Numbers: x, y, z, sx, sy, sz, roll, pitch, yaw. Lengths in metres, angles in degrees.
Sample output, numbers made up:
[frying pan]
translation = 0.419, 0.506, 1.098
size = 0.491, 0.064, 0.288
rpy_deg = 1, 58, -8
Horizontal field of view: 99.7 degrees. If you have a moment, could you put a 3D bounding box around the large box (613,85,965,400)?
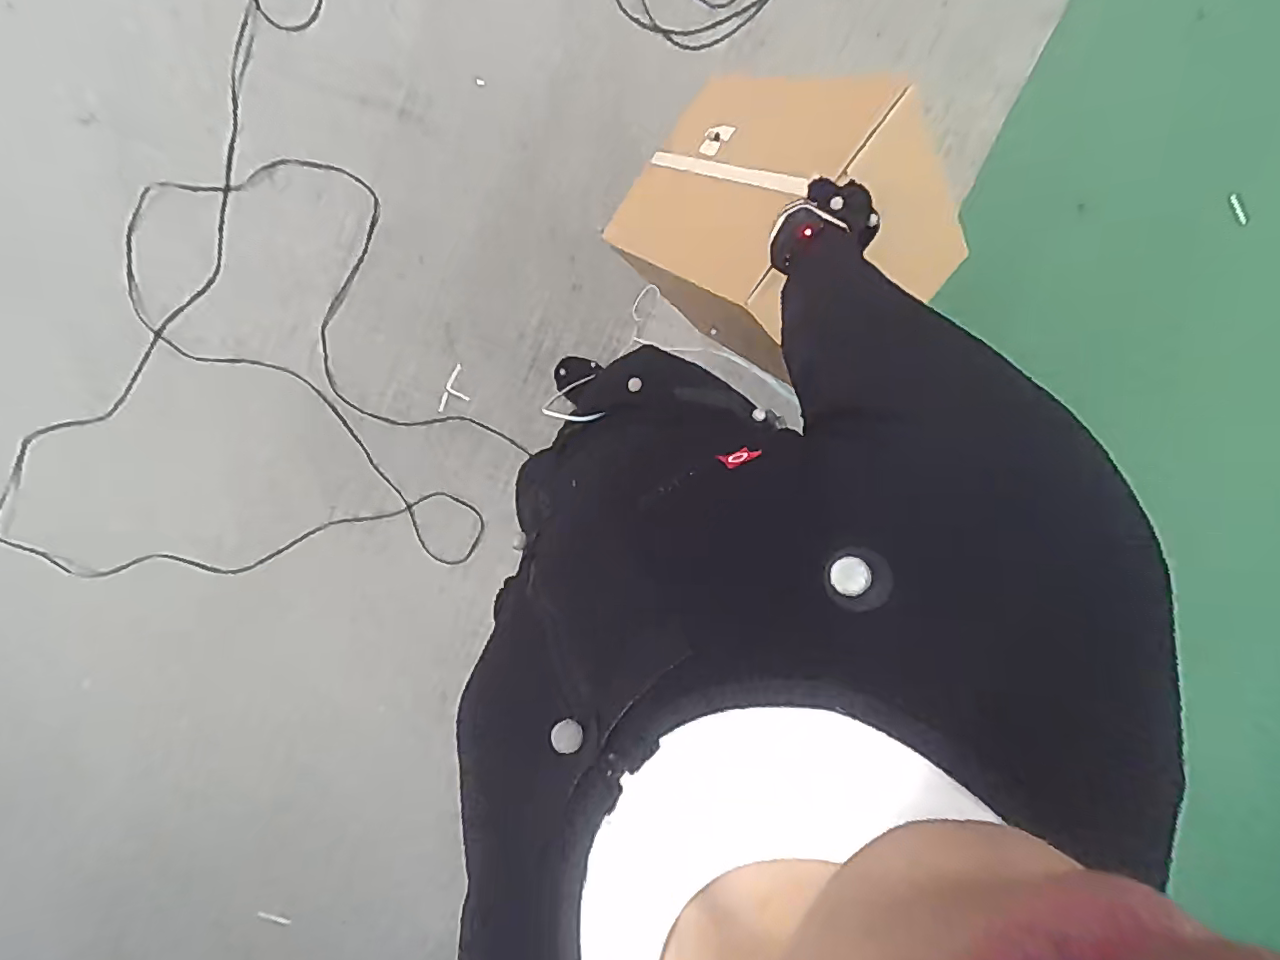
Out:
[large box]
translation = 0.231, -0.392, 0.901
size = 0.320, 0.408, 0.320
rpy_deg = 30, 102, -43
